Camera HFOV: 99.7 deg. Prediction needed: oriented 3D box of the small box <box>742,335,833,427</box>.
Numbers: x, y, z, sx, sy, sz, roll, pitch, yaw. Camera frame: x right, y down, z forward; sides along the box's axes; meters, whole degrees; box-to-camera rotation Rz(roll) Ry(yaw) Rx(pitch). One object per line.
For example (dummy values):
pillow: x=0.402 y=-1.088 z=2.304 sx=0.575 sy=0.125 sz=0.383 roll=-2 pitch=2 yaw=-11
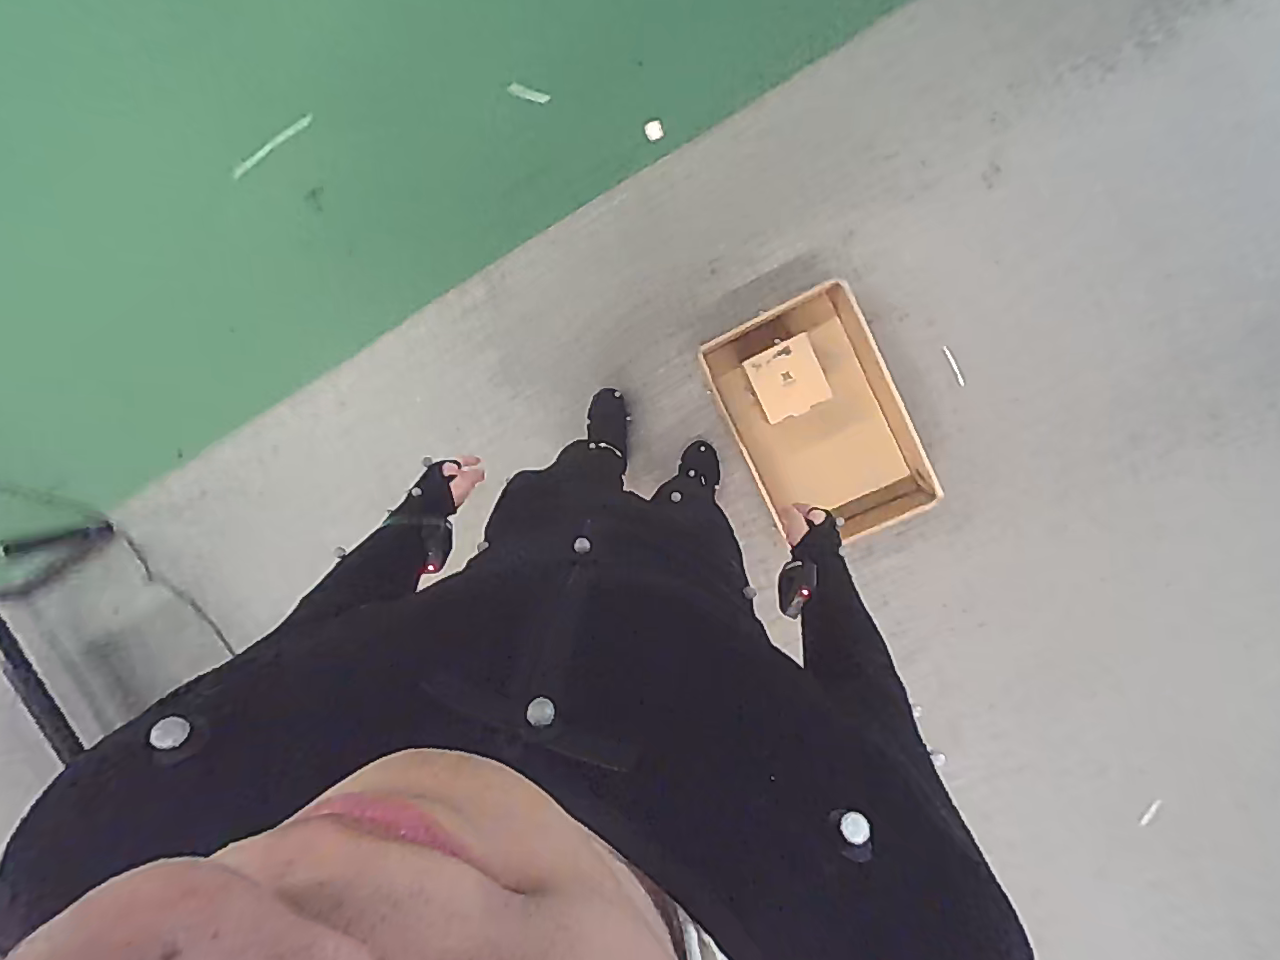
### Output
small box: x=0.374 y=-0.254 z=1.393 sx=0.168 sy=0.176 sz=0.179 roll=-24 pitch=96 yaw=10
